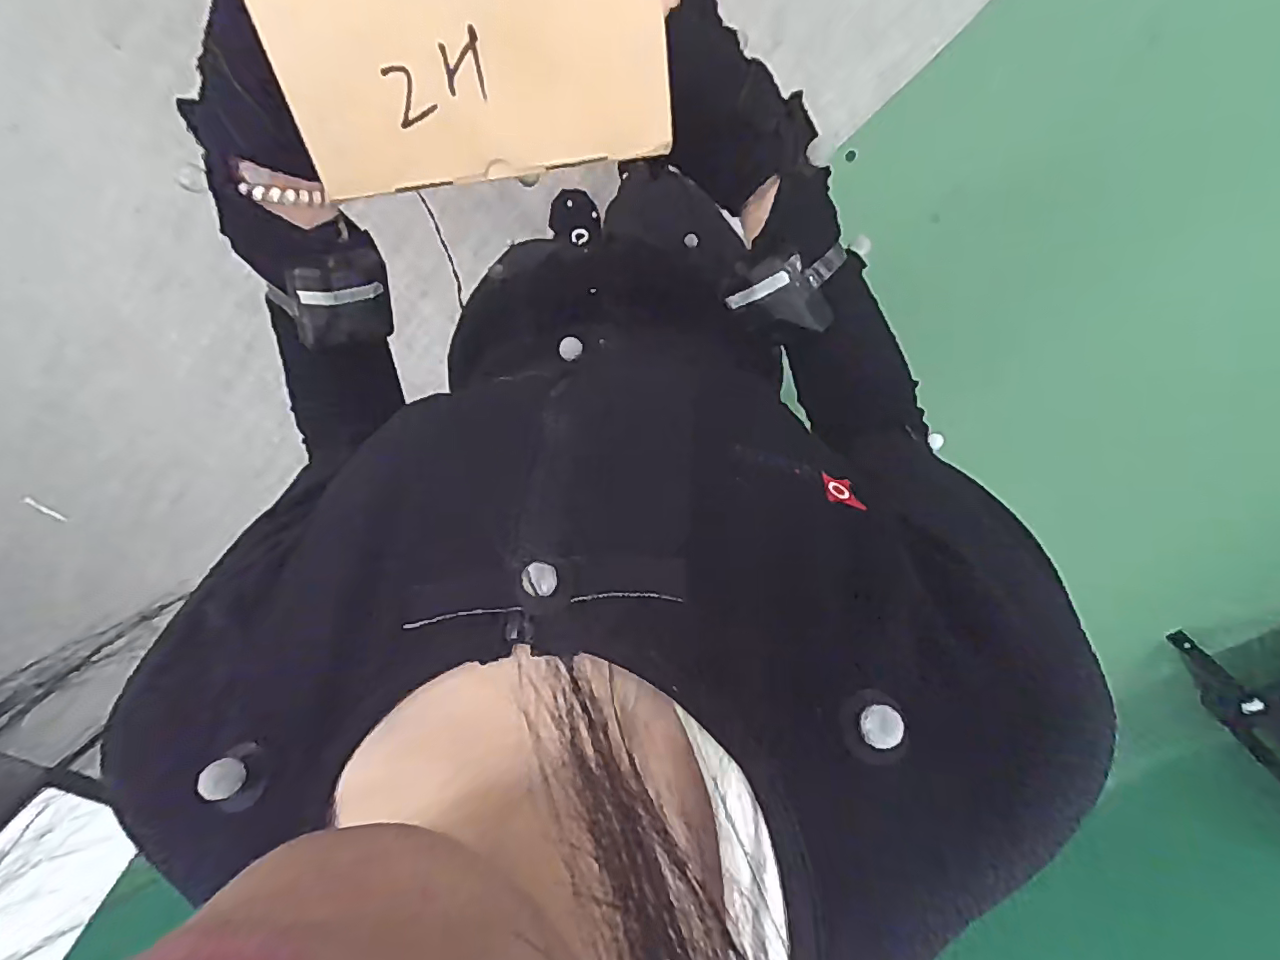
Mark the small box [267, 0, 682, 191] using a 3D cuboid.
[{"bbox_3d":[-0.076,-0.263,0.270,0.168,0.176,0.179,-8,127,1],"label":"small box"}]
